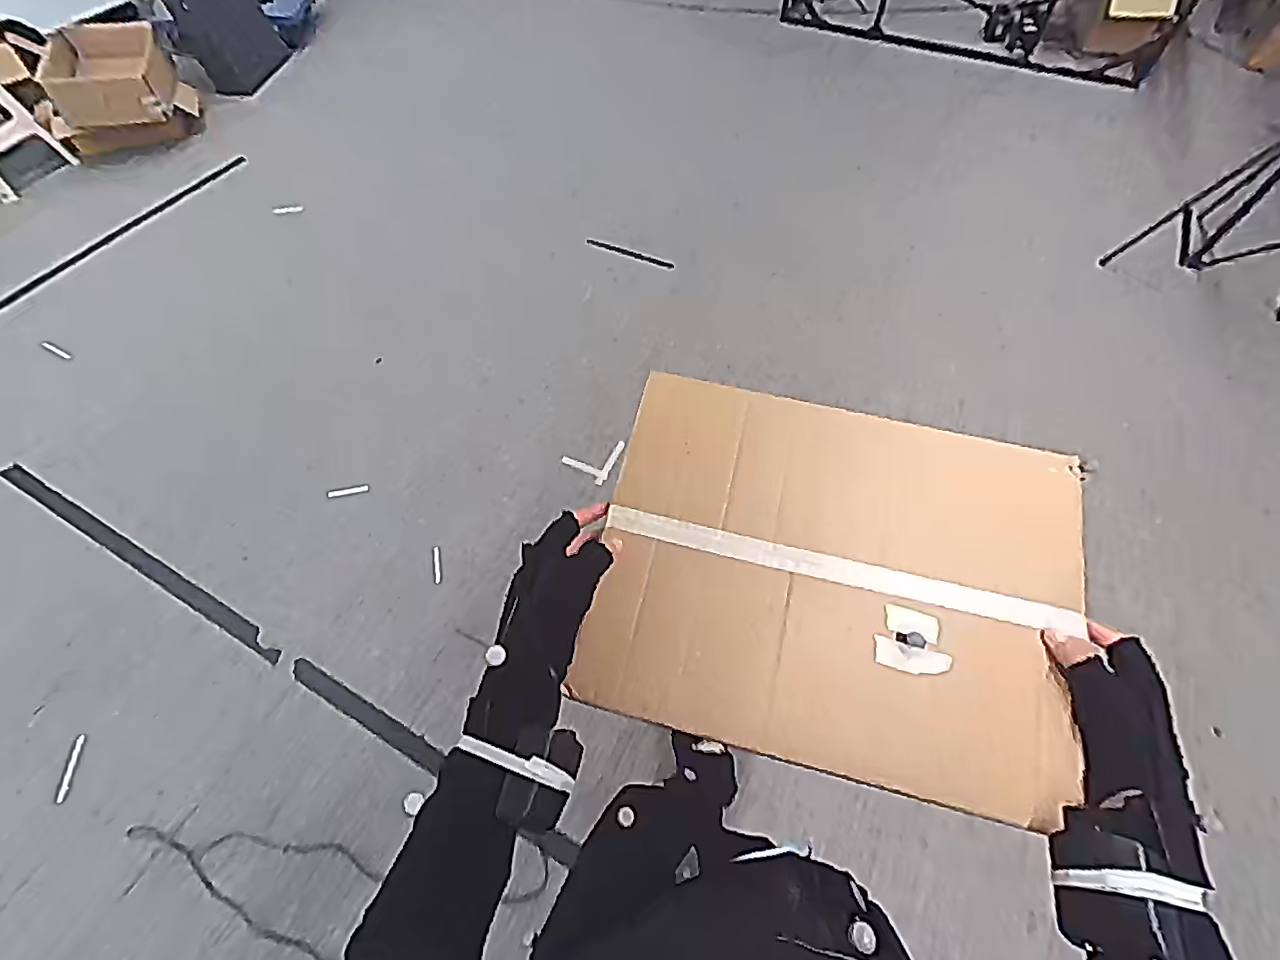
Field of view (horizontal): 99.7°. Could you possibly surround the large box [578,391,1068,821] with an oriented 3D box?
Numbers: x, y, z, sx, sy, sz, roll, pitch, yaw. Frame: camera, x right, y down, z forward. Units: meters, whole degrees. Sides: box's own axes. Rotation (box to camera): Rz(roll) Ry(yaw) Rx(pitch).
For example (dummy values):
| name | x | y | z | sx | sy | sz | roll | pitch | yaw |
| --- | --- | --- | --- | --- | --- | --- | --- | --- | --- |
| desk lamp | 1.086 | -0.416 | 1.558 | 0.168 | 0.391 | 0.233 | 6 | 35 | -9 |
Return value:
| name | x | y | z | sx | sy | sz | roll | pitch | yaw |
| --- | --- | --- | --- | --- | --- | --- | --- | --- | --- |
| large box | 0.175 | 0.137 | 0.626 | 0.408 | 0.320 | 0.320 | 13 | 71 | 7 |
